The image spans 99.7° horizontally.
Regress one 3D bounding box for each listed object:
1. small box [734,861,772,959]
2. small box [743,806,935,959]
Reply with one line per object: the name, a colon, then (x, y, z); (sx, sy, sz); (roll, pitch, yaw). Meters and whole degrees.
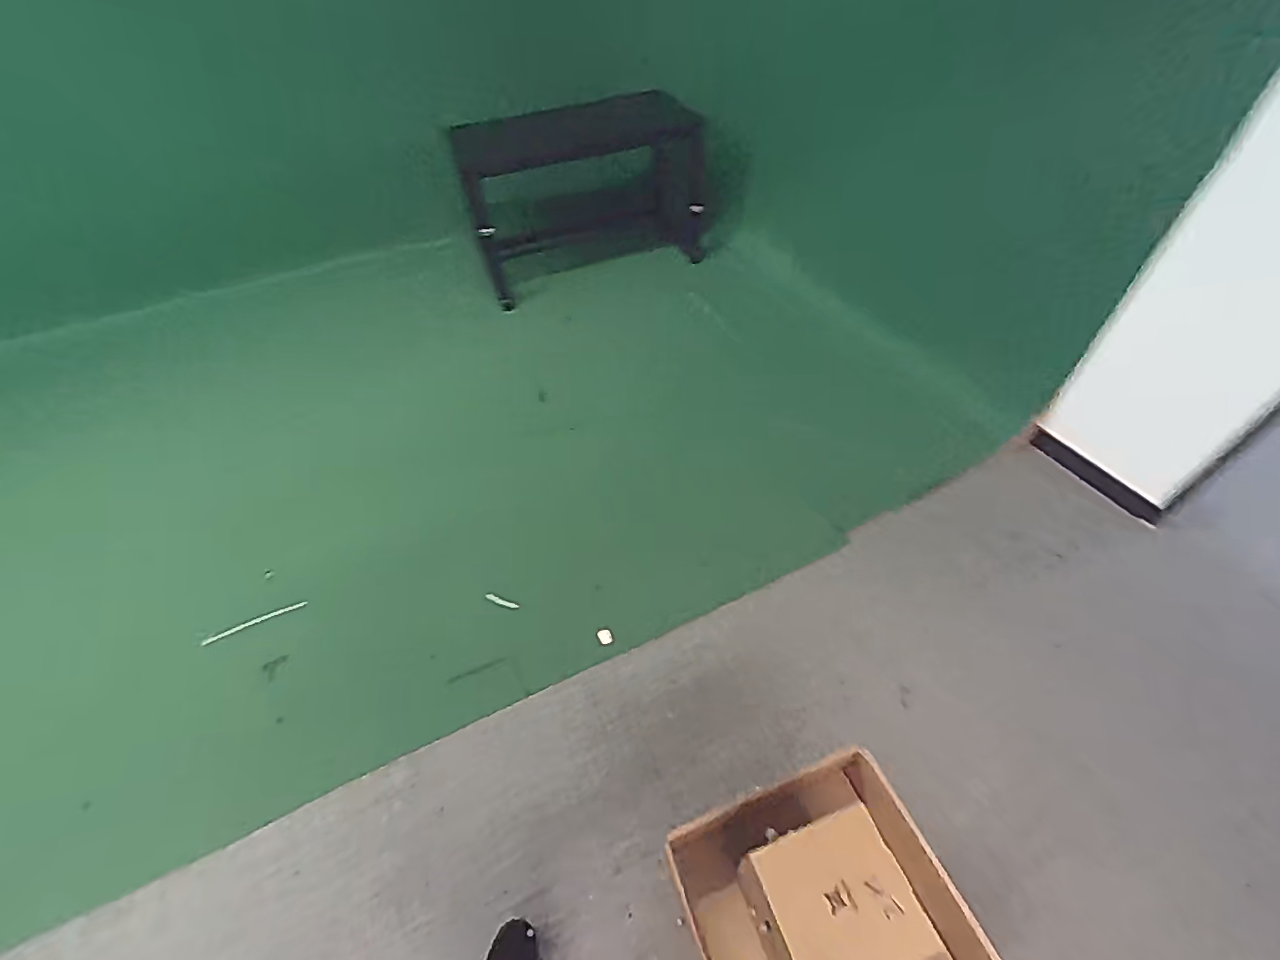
small box: (0.265, 0.680, 0.862); (0.179, 0.176, 0.168); (-15, 49, -10)
small box: (0.250, 0.578, 0.734); (0.179, 0.176, 0.168); (-17, 51, -10)
